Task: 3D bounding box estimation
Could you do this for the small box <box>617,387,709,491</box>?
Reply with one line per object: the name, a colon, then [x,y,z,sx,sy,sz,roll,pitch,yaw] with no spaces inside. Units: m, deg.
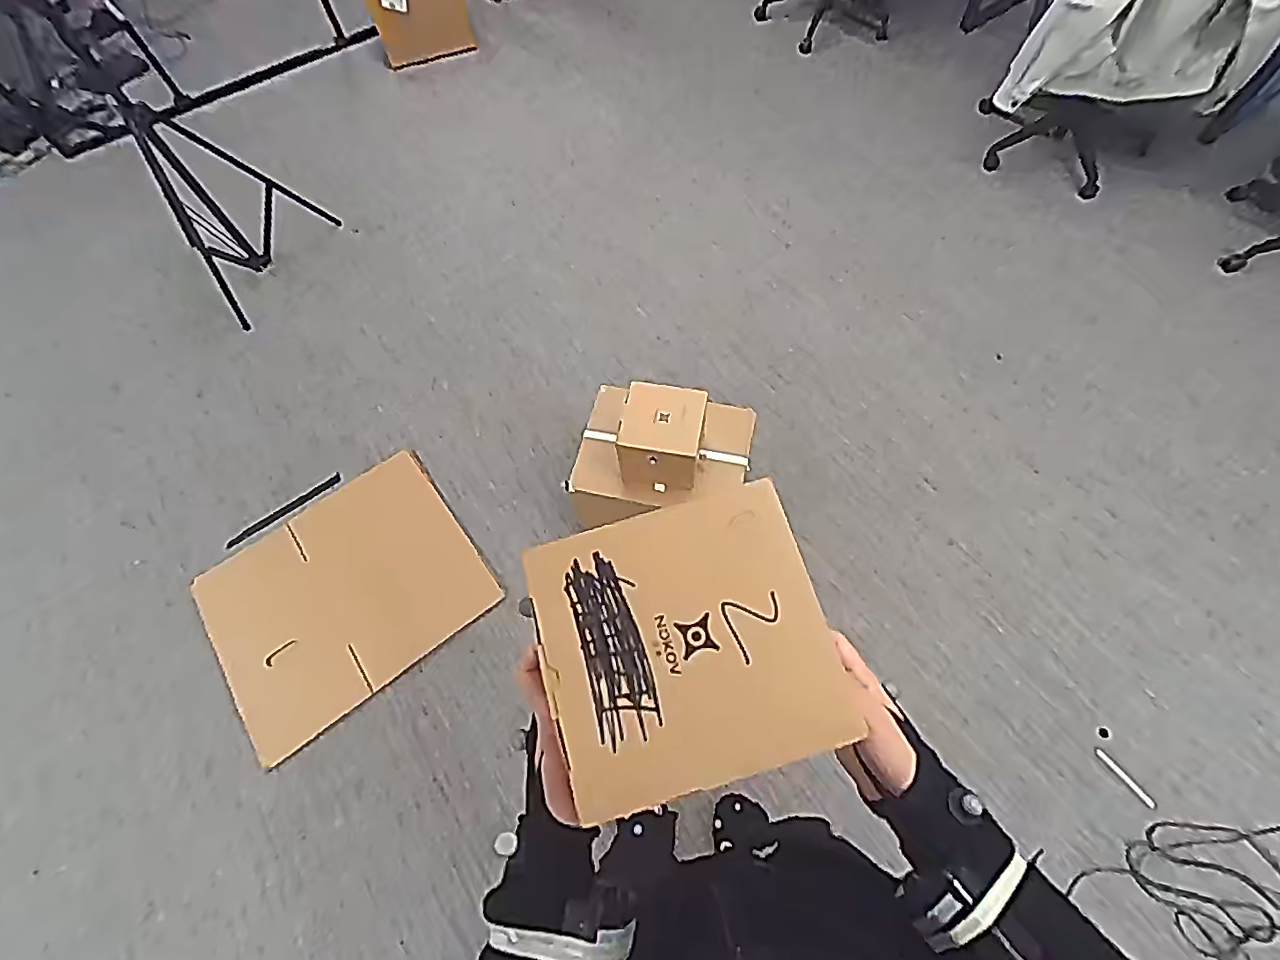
small box: [0.055,-0.087,1.228,0.179,0.176,0.168,9,66,7]
